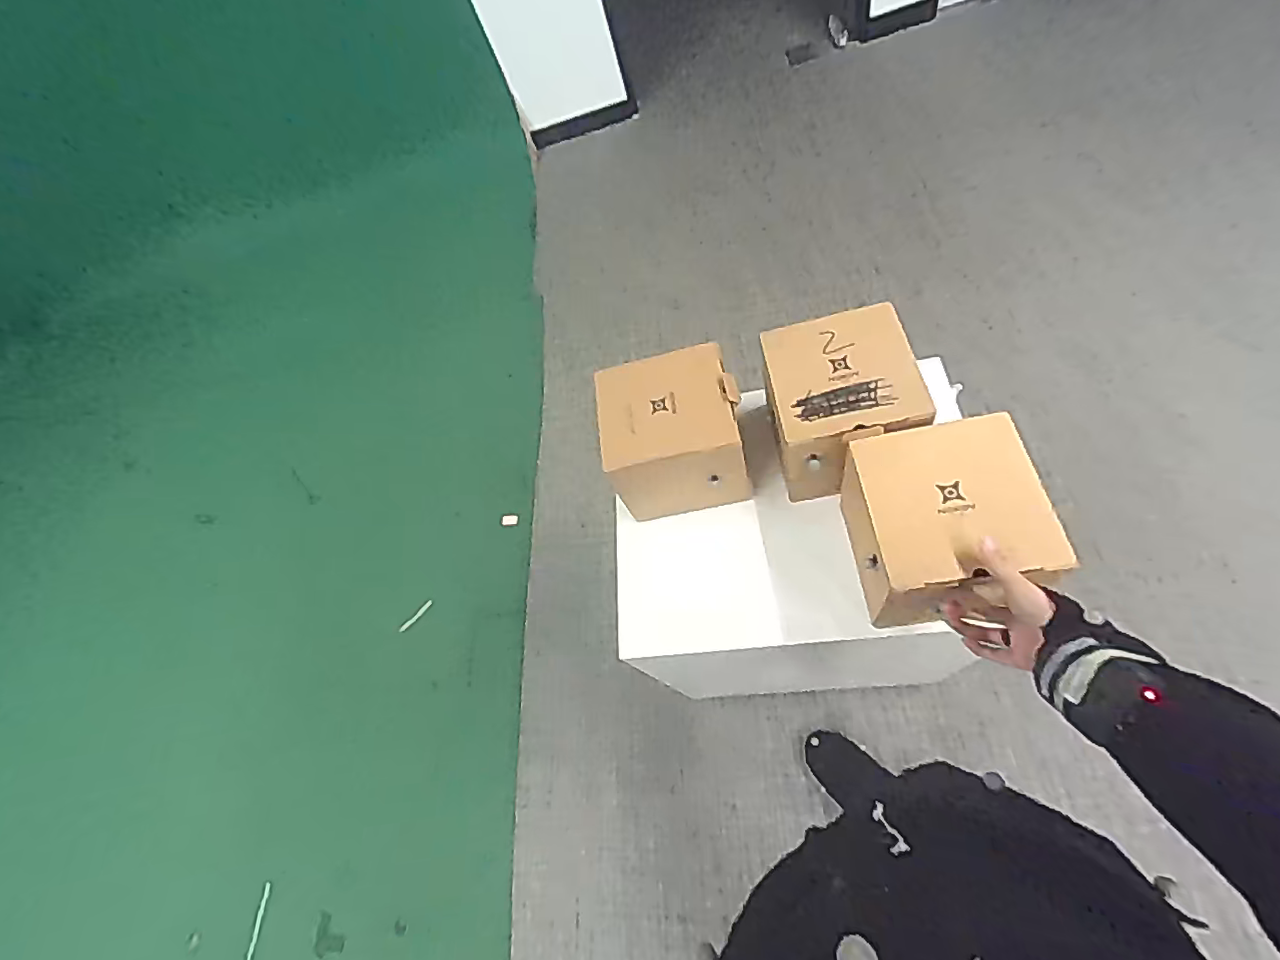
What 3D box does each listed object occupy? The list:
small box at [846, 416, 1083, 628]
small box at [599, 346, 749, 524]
[{"bbox_3d":[0.341,0.056,0.616,0.168,0.176,0.179,-11,60,11],"label":"small box"},{"bbox_3d":[0.054,-0.055,0.763,0.179,0.176,0.168,-13,59,10],"label":"small box"}]
